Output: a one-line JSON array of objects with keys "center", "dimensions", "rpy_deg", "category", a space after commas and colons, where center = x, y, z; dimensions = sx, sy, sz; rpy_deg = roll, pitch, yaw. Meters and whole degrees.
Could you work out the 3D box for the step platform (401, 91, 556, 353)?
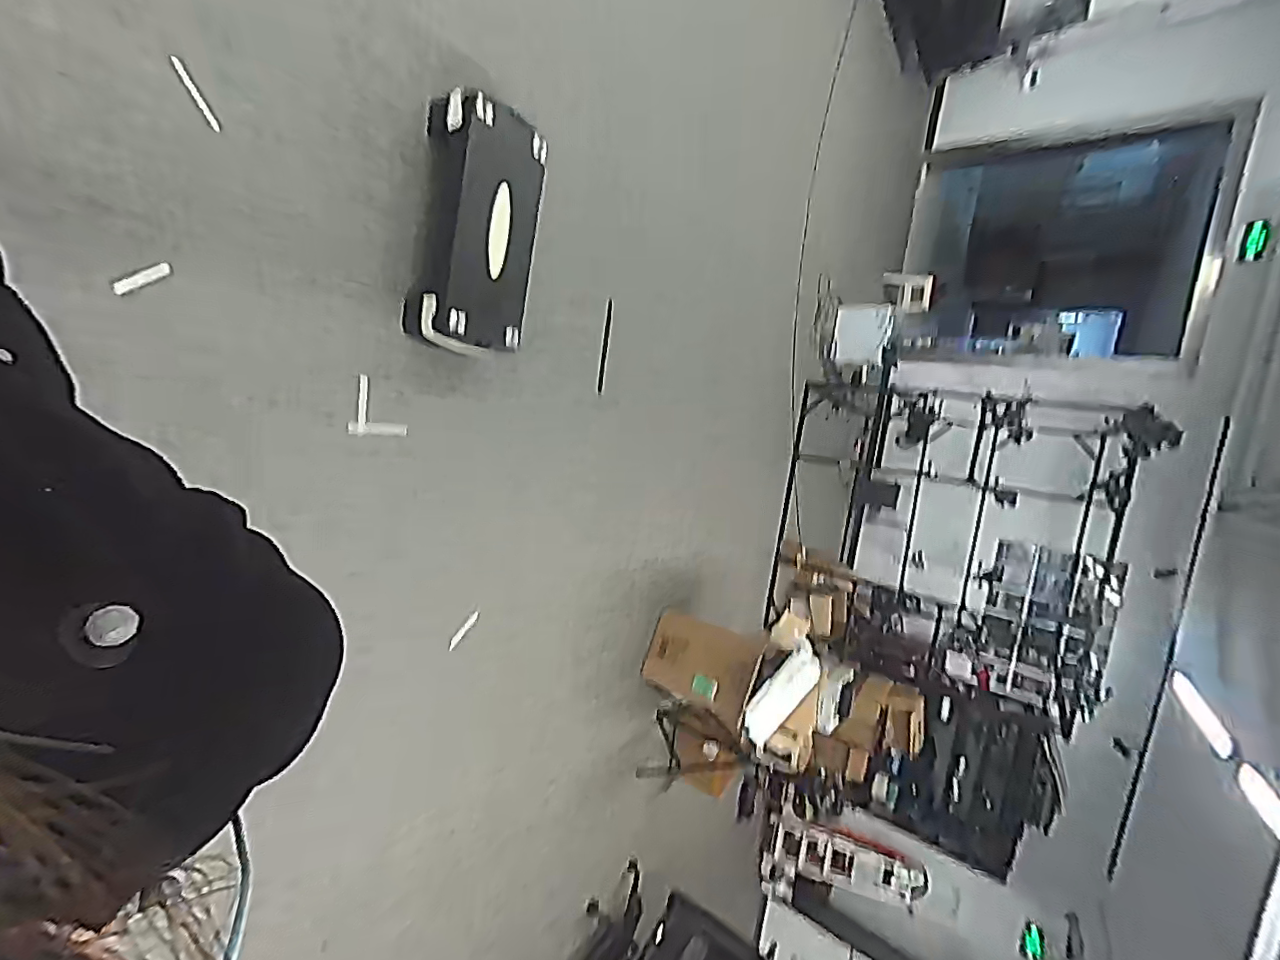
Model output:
[{"center": [-0.458, -0.728, 1.581], "dimensions": [0.286, 0.204, 0.684], "rpy_deg": [12, 89, -55], "category": "step platform"}]
